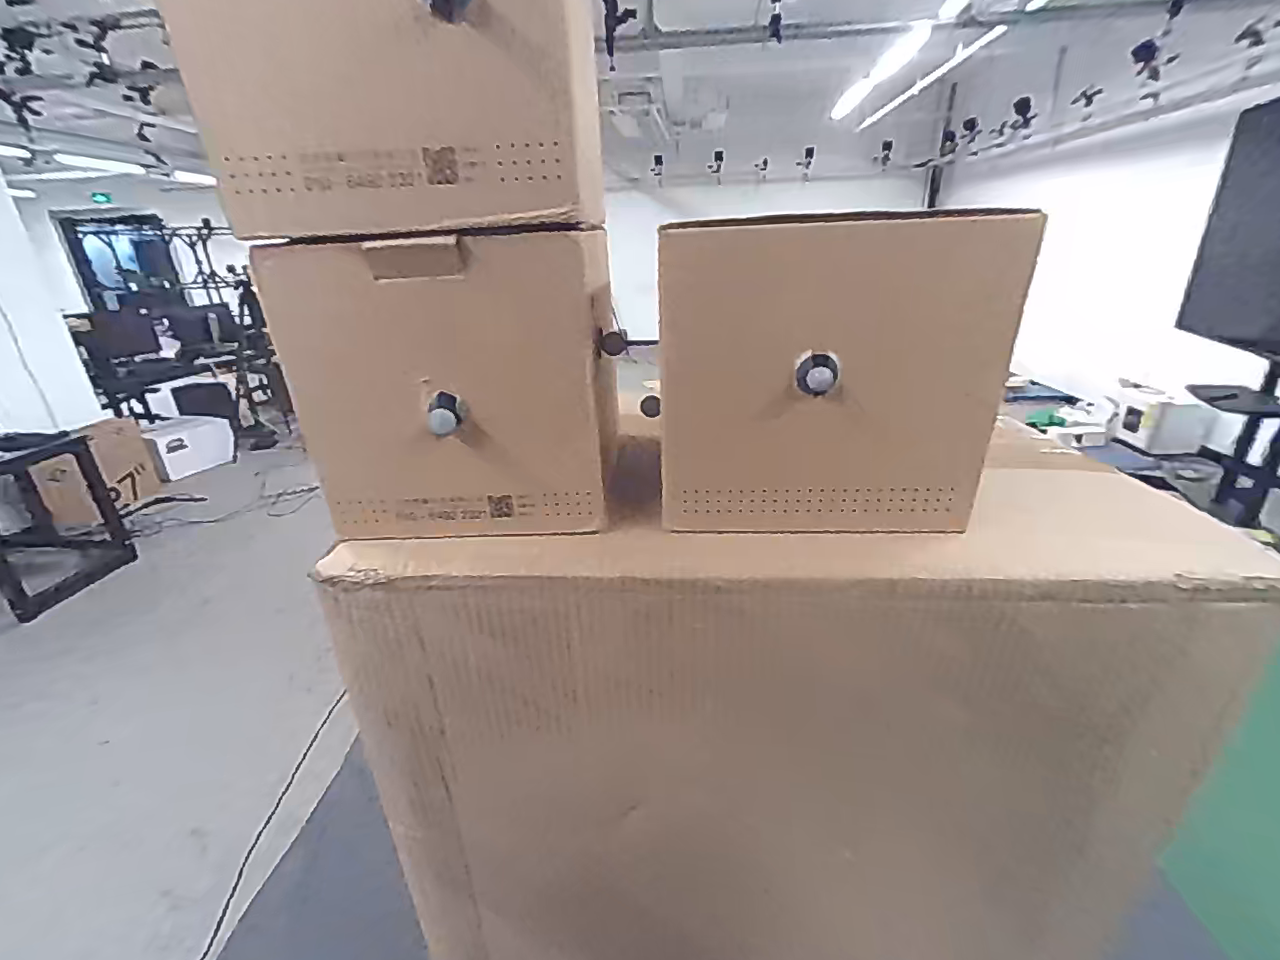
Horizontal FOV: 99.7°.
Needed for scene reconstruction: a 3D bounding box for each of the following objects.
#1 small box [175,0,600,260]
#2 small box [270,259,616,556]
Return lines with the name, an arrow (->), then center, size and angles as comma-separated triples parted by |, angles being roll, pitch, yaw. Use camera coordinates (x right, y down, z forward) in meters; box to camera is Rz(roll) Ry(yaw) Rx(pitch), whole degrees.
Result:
small box -> -0.113, -0.219, 0.305 | 0.168, 0.176, 0.179 | -1, 24, 1
small box -> -0.106, -0.056, 0.385 | 0.168, 0.176, 0.179 | -4, 24, 0
